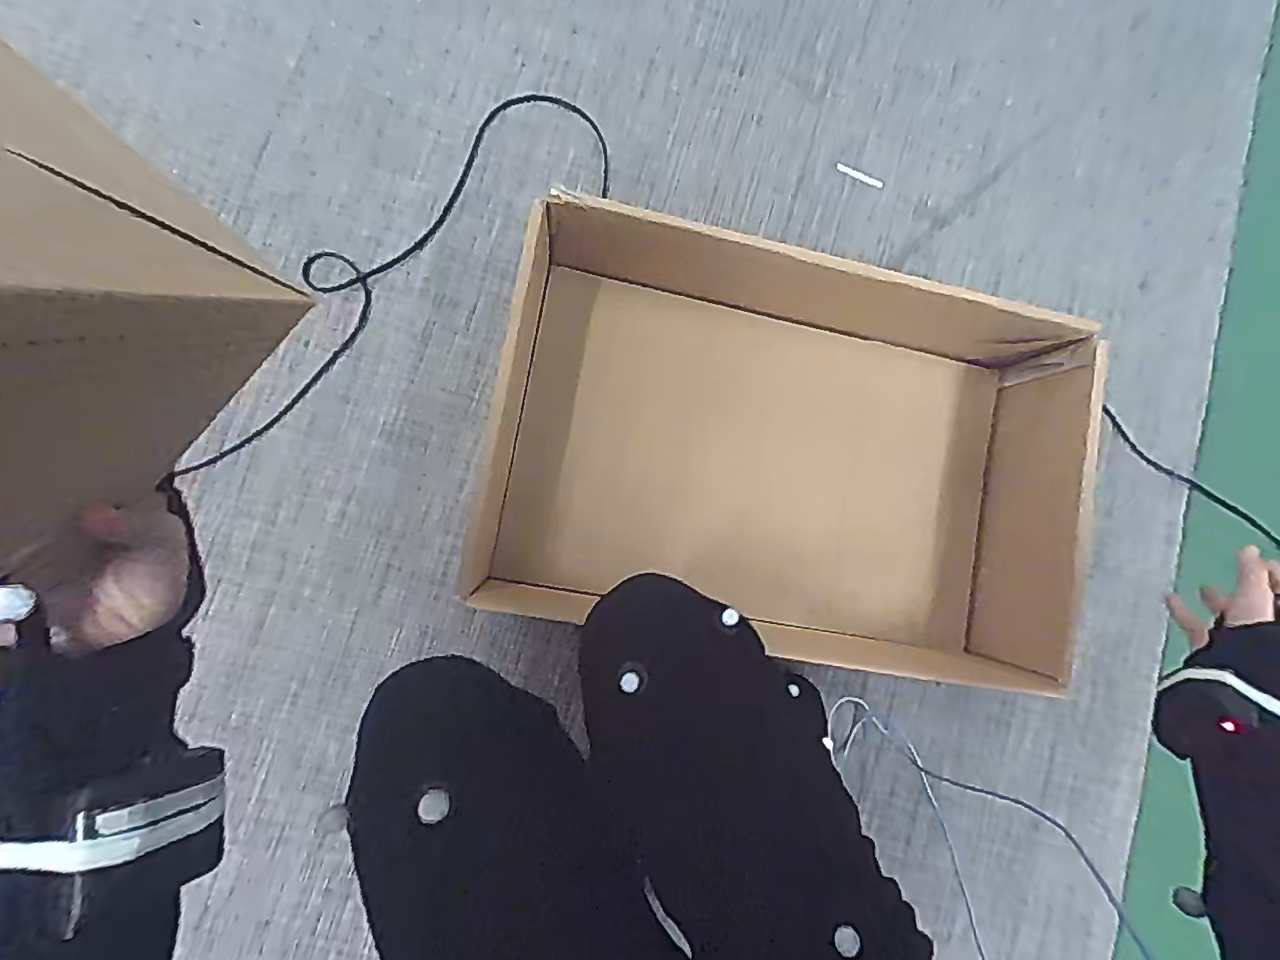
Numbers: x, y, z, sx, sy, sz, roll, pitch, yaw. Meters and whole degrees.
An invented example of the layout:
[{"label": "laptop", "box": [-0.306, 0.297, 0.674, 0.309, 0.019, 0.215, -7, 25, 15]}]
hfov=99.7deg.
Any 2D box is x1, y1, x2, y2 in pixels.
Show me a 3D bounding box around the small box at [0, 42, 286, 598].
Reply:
[{"label": "small box", "box": [-0.229, -0.050, 0.121, 0.168, 0.179, 0.176, 42, 92, -20]}]
